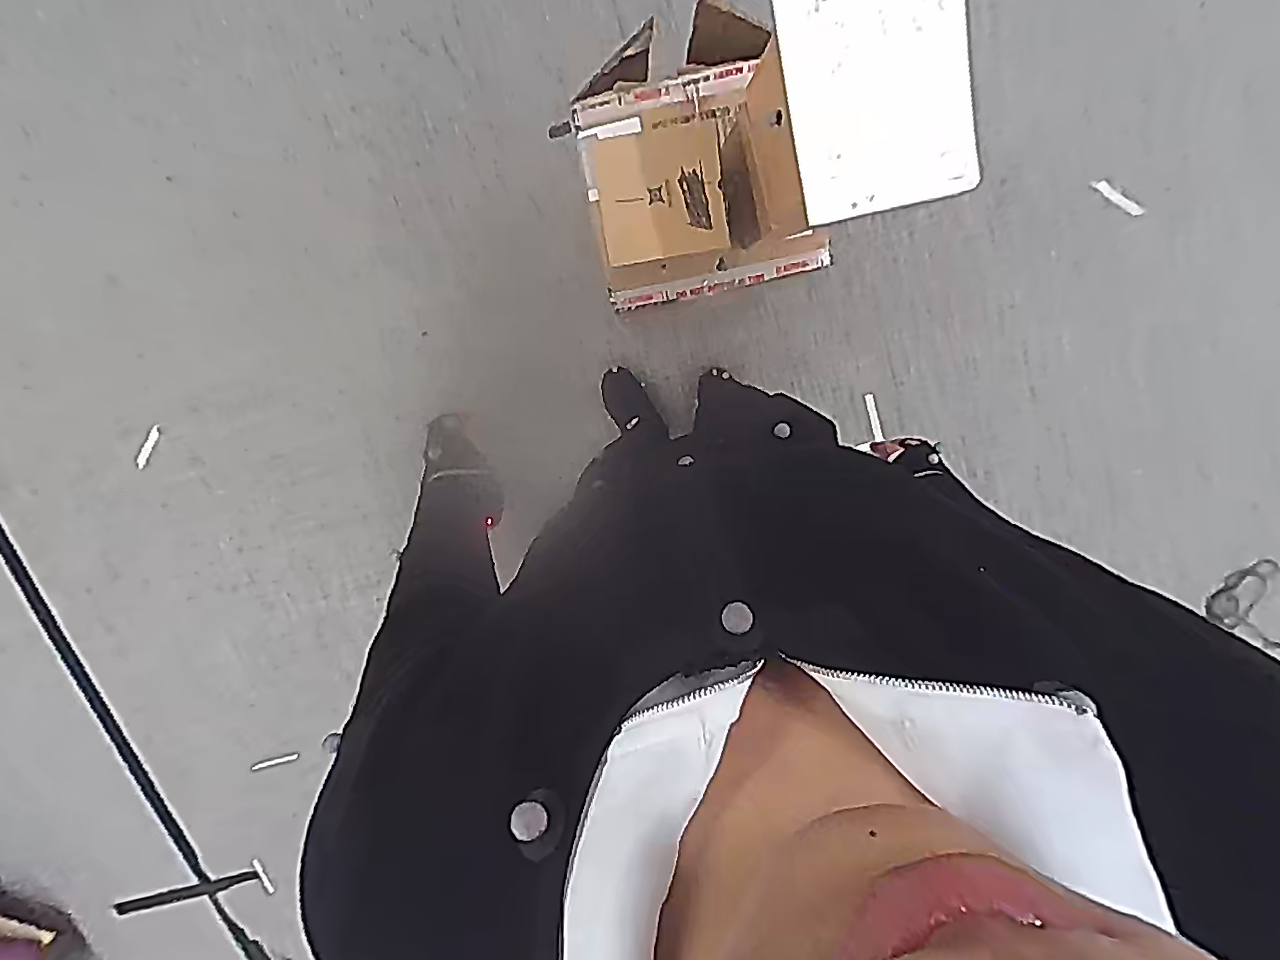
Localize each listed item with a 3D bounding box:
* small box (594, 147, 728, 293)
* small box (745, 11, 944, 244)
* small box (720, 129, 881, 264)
[{"bbox_3d":[0.031,-0.394,0.846,0.179,0.176,0.168,-9,105,2],"label":"small box"},{"bbox_3d":[0.243,-0.420,0.678,0.168,0.176,0.179,-16,103,1],"label":"small box"},{"bbox_3d":[0.240,-0.451,0.838,0.179,0.176,0.168,-18,104,2],"label":"small box"}]
